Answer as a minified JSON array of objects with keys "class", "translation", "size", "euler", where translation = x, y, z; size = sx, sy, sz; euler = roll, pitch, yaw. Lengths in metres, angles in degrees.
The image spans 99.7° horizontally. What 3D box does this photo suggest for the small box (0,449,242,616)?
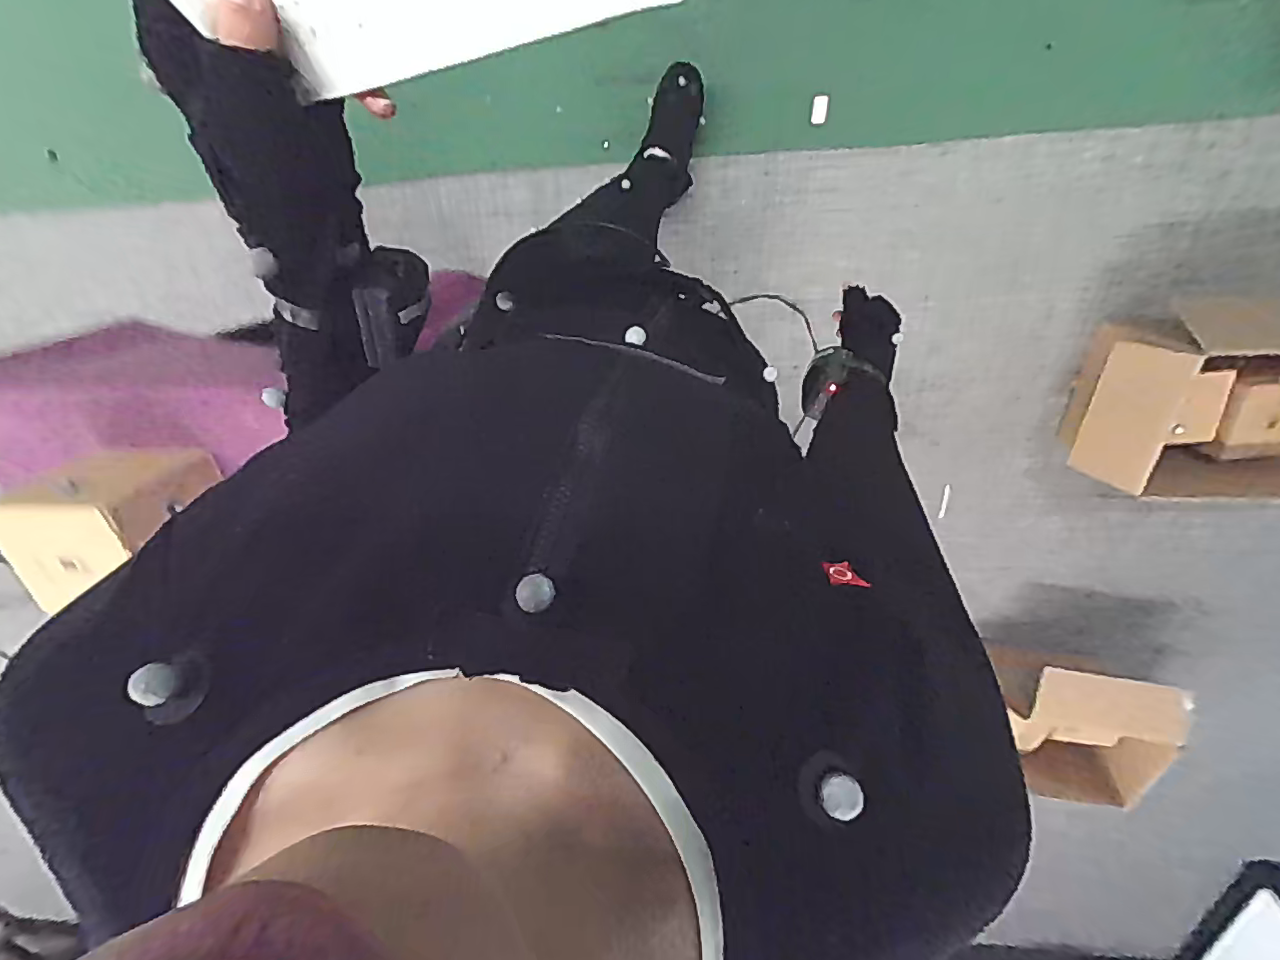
[{"class":"small box","translation":[-0.694,0.065,0.741],"size":[0.179,0.176,0.168],"euler":[1,118,5]}]
